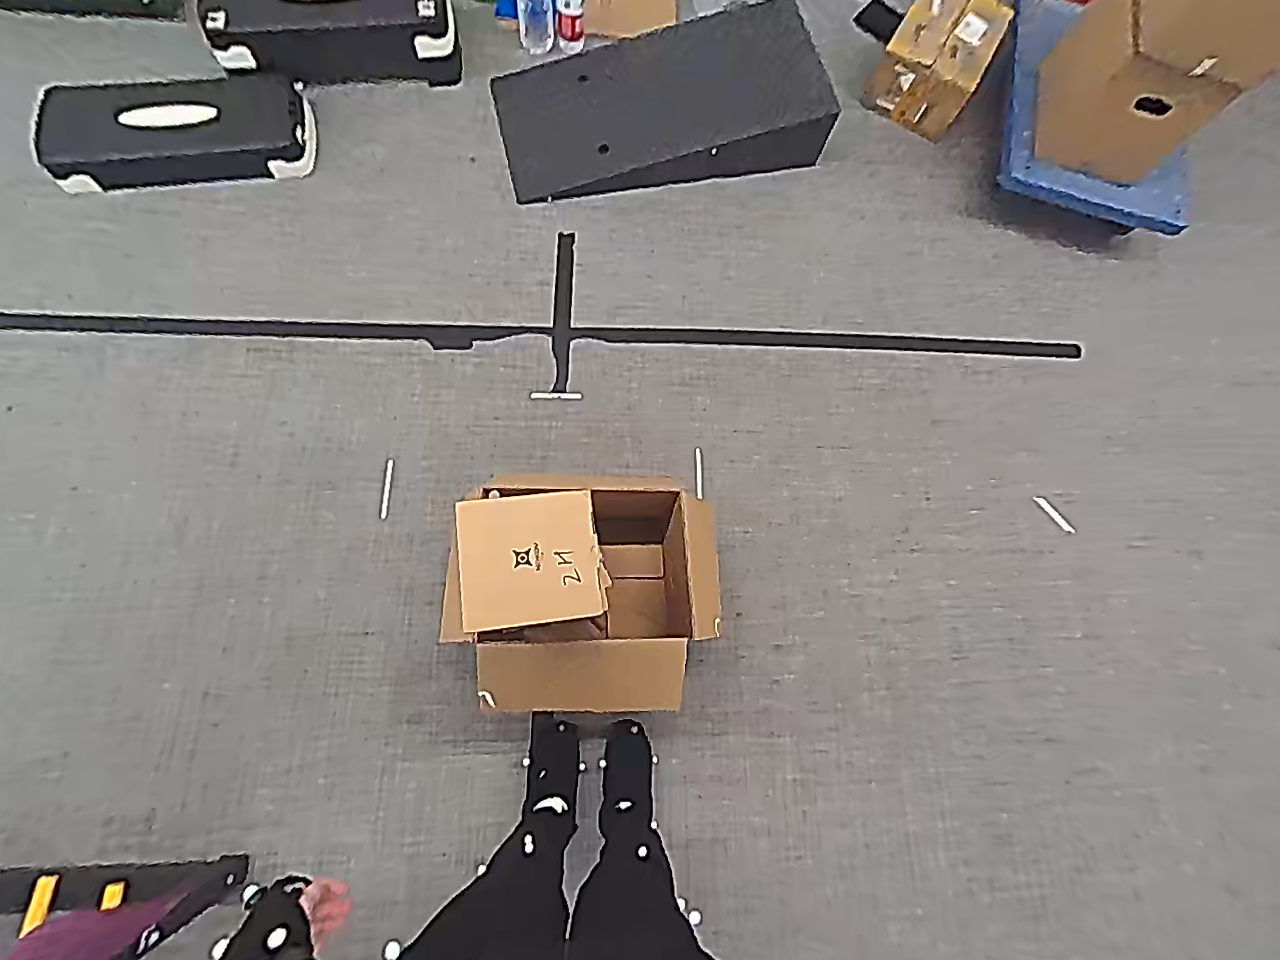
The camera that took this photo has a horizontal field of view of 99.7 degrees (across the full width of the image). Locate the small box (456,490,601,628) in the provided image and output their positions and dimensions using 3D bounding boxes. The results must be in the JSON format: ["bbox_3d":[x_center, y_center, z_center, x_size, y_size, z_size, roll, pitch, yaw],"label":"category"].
[{"bbox_3d":[-0.152,0.115,0.765,0.179,0.176,0.168,-5,79,-10],"label":"small box"}]
